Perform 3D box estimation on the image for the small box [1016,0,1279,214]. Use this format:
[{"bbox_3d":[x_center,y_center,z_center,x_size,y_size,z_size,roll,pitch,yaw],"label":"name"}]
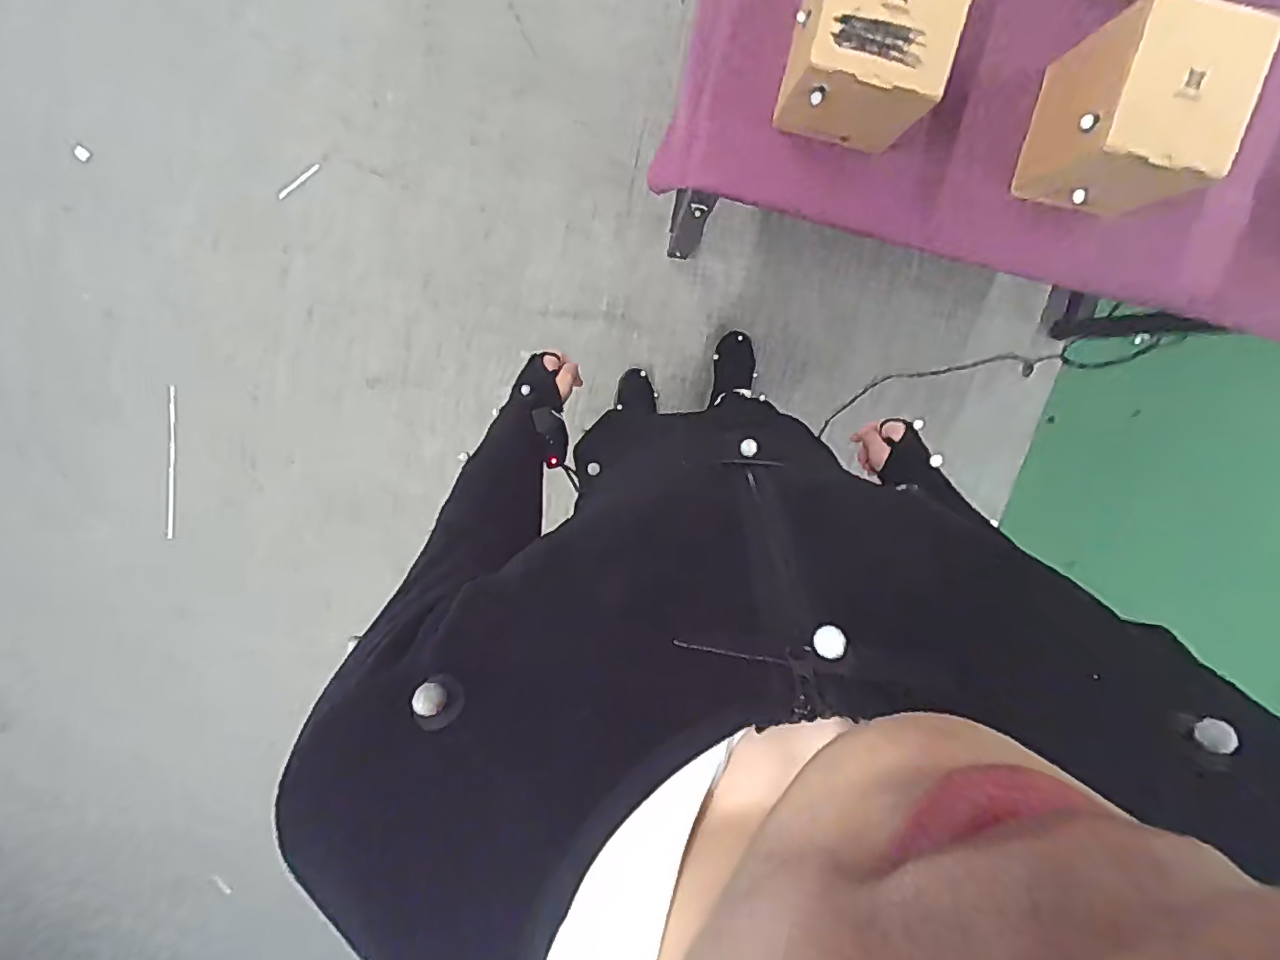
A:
[{"bbox_3d":[0.649,-0.481,0.716,0.168,0.176,0.179,11,102,-3],"label":"small box"}]
